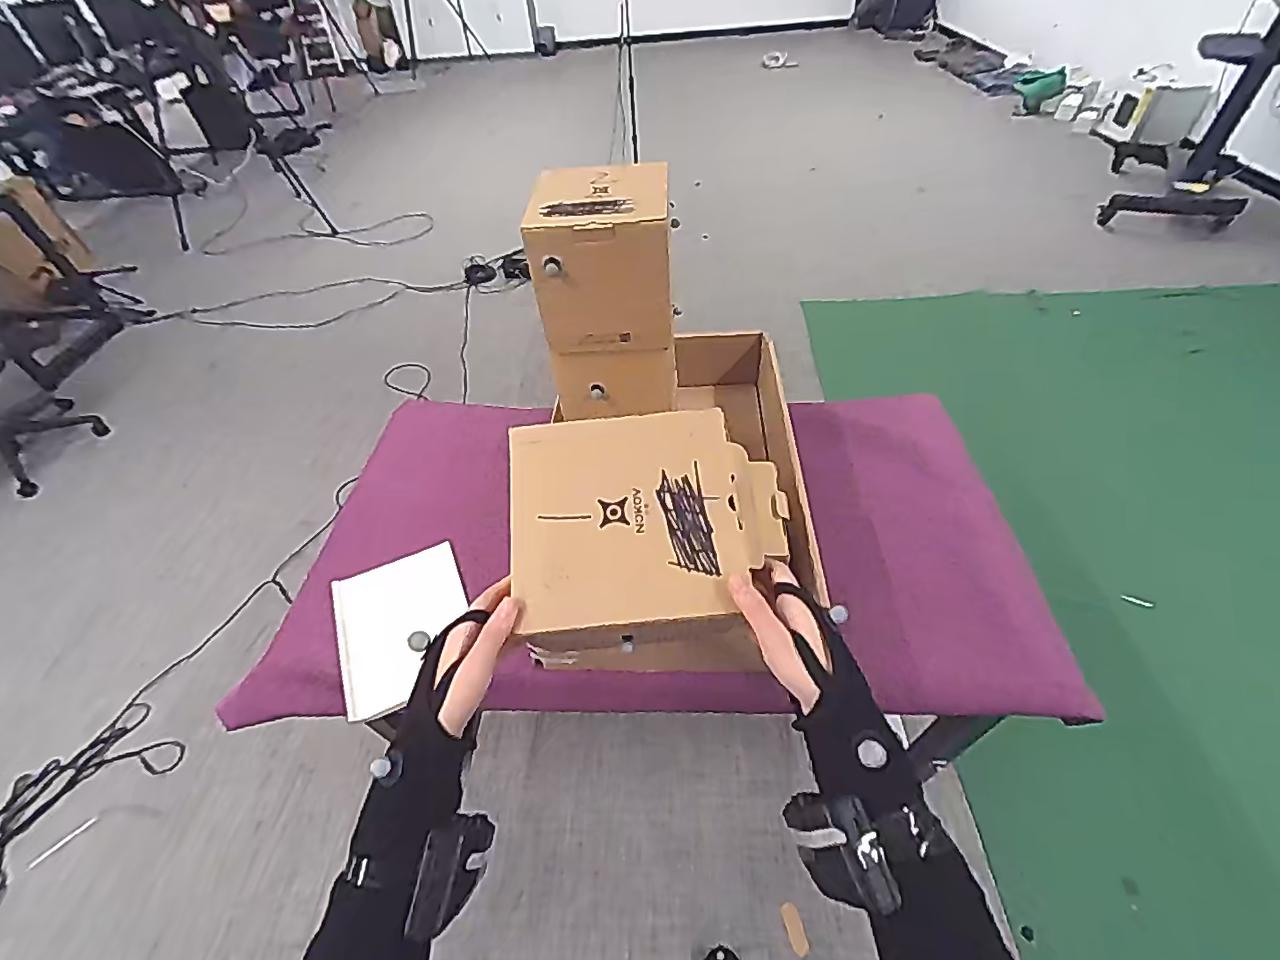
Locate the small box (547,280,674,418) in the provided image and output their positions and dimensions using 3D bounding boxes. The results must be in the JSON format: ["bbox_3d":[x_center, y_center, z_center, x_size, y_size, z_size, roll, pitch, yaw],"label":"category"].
[{"bbox_3d":[-0.034,-0.188,0.839,0.168,0.176,0.179,1,49,6],"label":"small box"}]

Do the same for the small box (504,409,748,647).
[{"bbox_3d":[-0.014,0.053,0.483,0.179,0.176,0.168,-5,68,-1],"label":"small box"}]
